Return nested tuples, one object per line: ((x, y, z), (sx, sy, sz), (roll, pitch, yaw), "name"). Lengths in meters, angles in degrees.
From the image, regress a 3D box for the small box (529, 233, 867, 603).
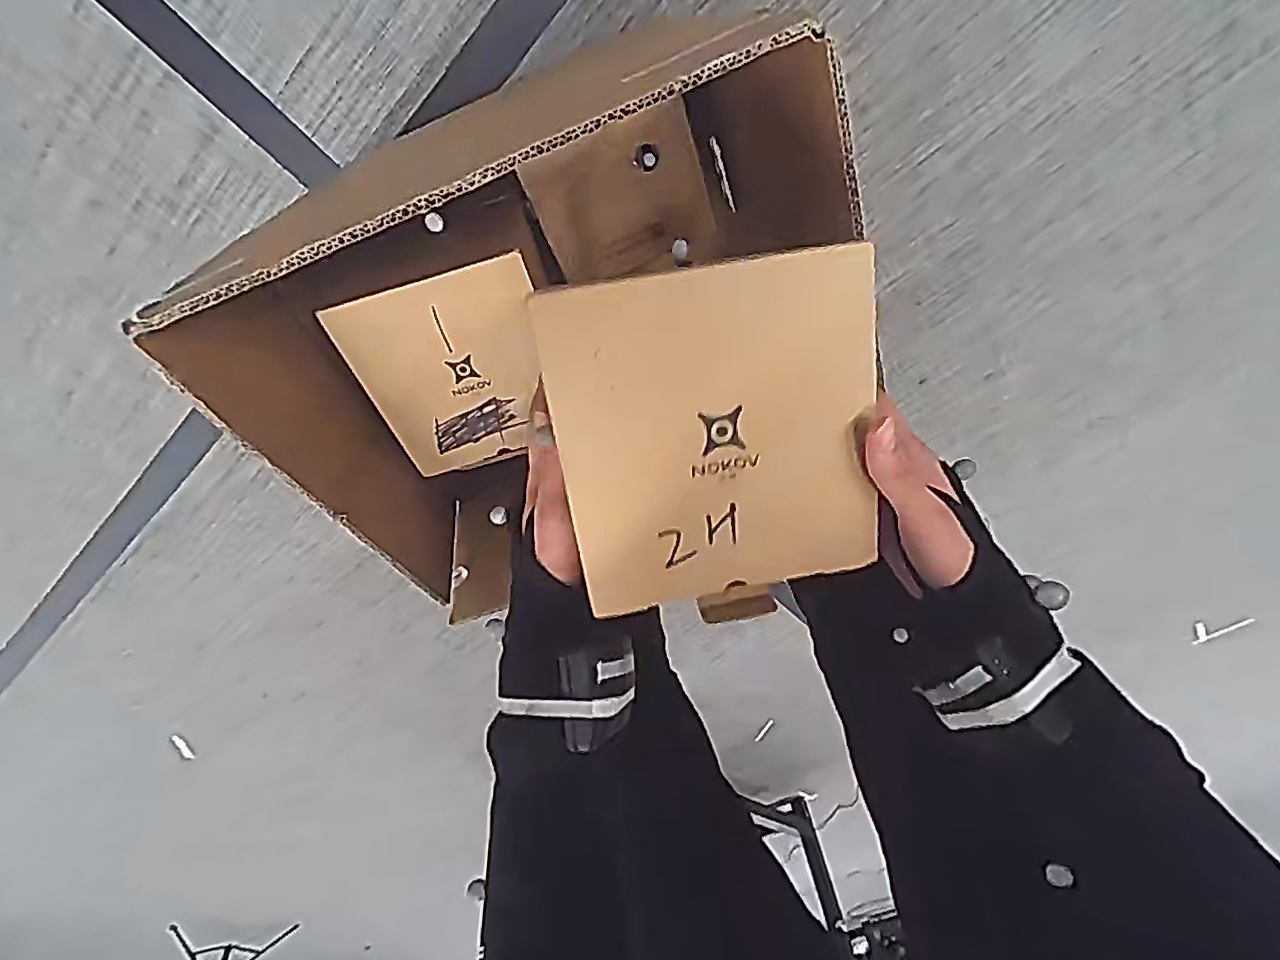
((0.029, -0.049, 0.355), (0.168, 0.176, 0.179), (-10, 110, -3), "small box")
